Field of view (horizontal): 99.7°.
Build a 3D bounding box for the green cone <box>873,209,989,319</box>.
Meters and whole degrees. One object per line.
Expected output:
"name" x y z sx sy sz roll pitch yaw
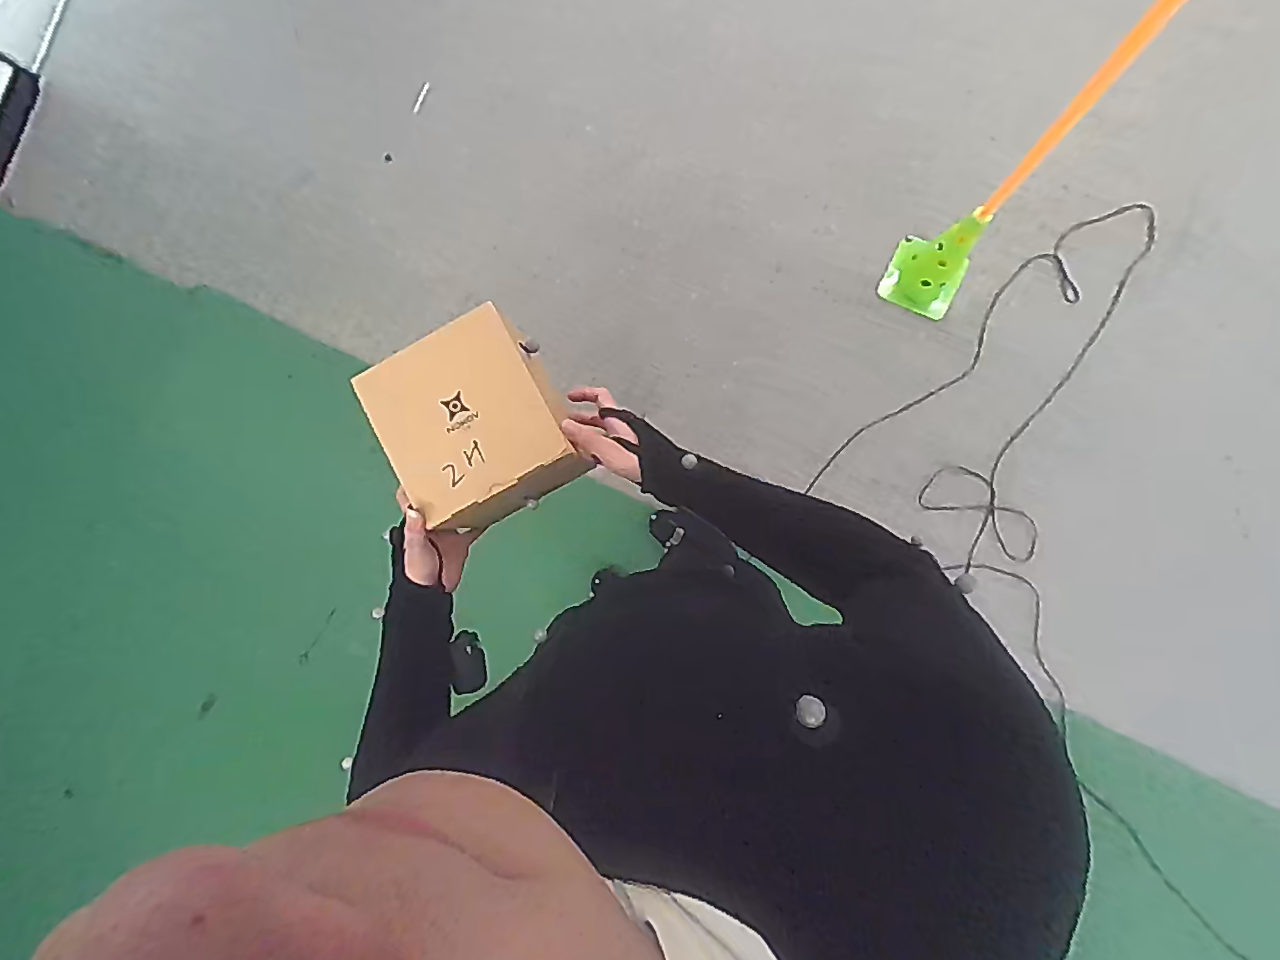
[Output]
"green cone" 0.790 -0.595 1.410 0.202 0.368 0.200 25 92 6
